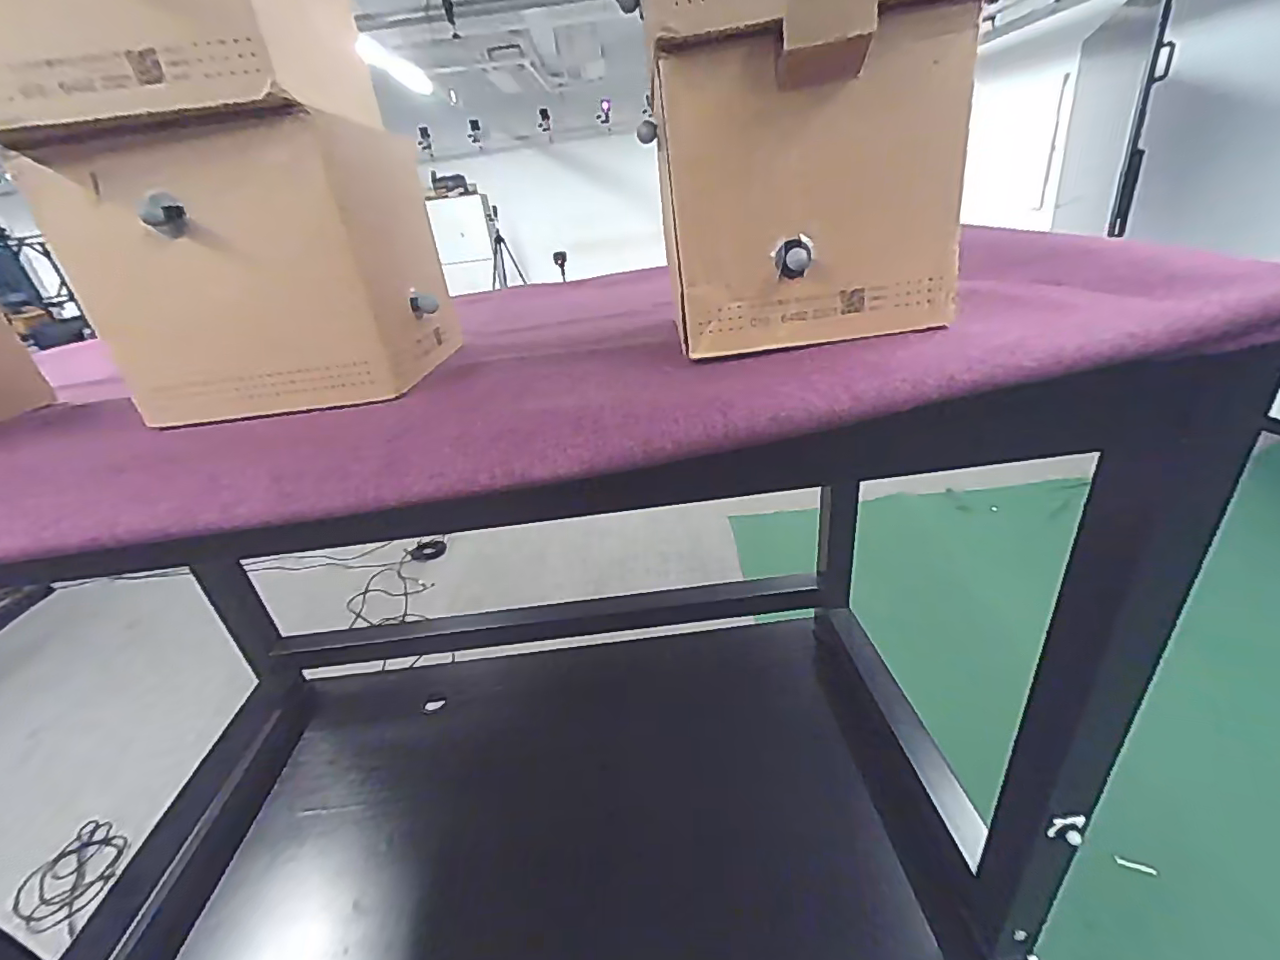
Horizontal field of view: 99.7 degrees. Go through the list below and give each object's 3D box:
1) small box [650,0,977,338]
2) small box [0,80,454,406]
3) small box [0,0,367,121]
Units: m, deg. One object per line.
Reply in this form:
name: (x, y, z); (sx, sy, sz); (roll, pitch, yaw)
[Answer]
small box: (0.097, -0.204, 0.378); (0.168, 0.176, 0.179); (-7, 26, 4)
small box: (-0.260, -0.159, 0.392); (0.179, 0.176, 0.168); (-7, 27, 1)
small box: (-0.286, -0.299, 0.309); (0.168, 0.176, 0.179); (-9, 27, -3)
